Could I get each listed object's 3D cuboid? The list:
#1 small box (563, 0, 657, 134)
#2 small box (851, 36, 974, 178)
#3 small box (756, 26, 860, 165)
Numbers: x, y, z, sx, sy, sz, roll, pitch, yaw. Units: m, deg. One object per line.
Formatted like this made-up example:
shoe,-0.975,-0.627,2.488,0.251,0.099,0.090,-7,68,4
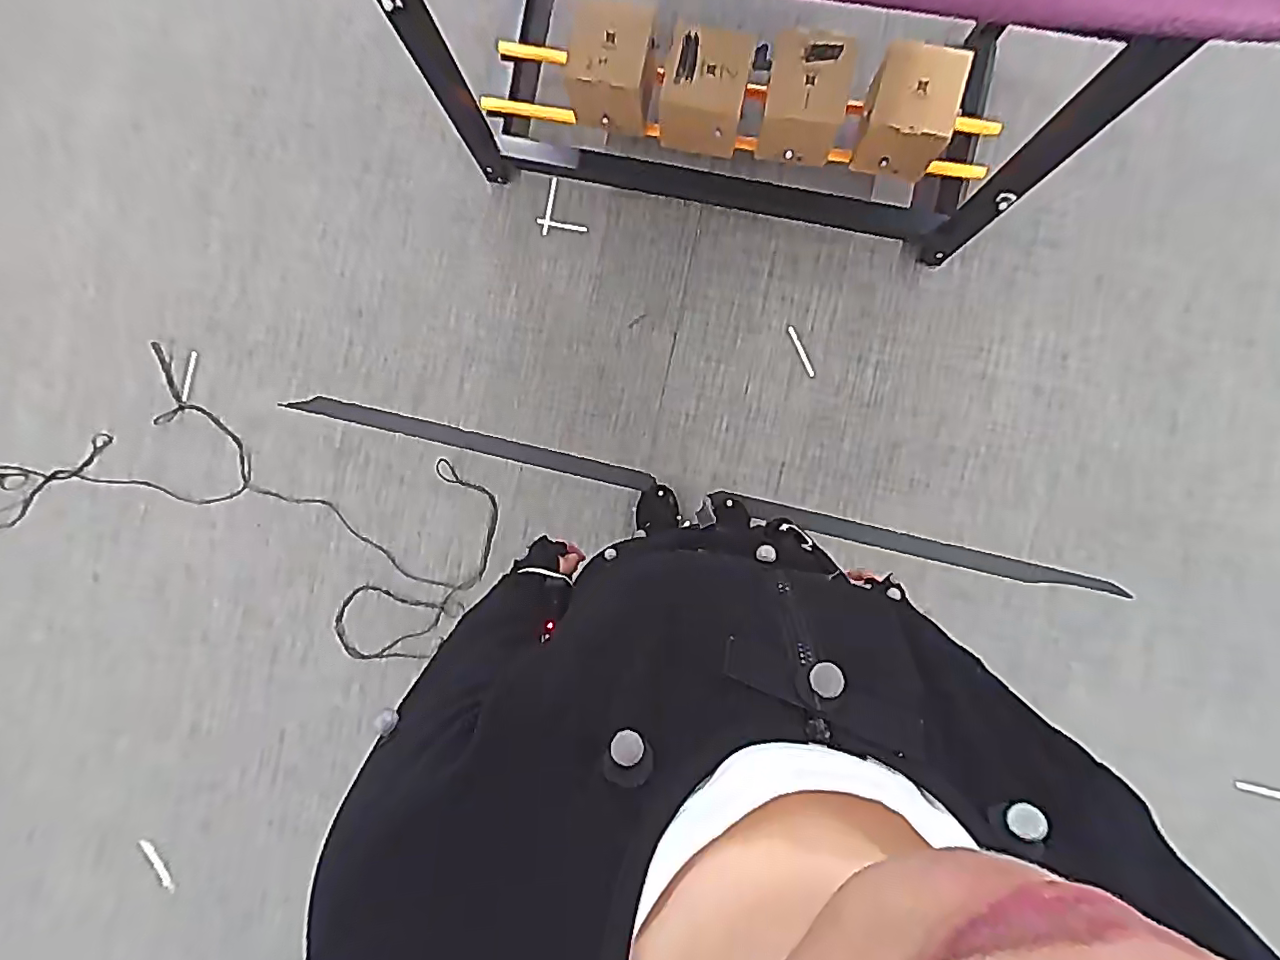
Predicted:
small box,-0.060,-0.919,1.202,0.168,0.176,0.179,12,93,3
small box,0.574,-0.791,1.162,0.168,0.176,0.179,14,93,5
small box,0.357,-0.829,1.179,0.168,0.176,0.179,10,94,4
